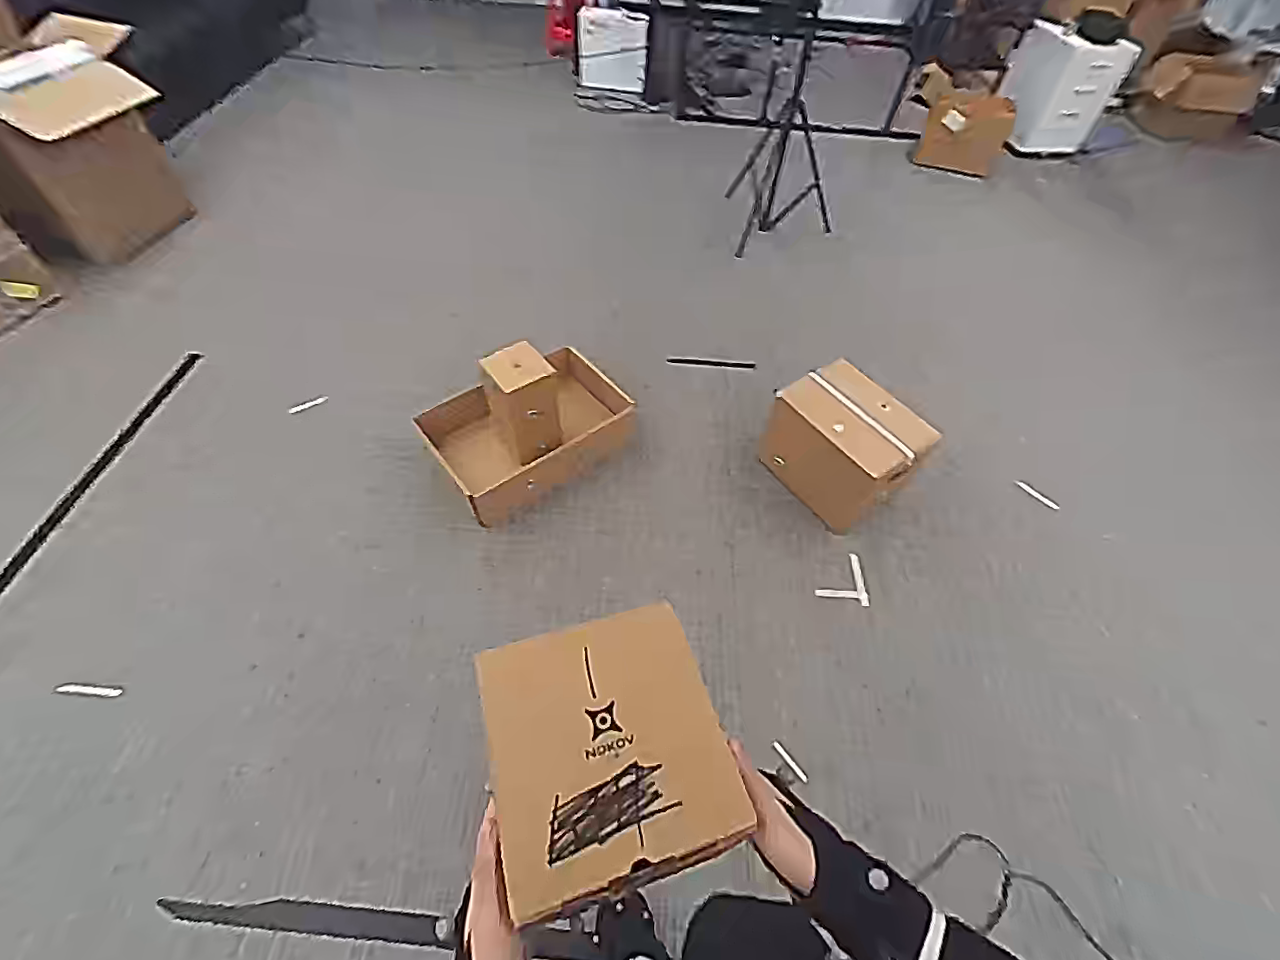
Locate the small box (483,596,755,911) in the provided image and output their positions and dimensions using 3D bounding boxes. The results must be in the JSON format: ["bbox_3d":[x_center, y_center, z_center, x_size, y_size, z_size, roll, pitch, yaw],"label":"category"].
[{"bbox_3d":[-0.026,0.229,0.454,0.168,0.176,0.179,-12,51,-13],"label":"small box"}]

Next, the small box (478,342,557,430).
[{"bbox_3d":[-0.372,-0.286,1.662,0.168,0.176,0.179,-31,61,-23],"label":"small box"}]

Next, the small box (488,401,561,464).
[{"bbox_3d":[-0.379,-0.187,1.791,0.168,0.176,0.179,-30,60,-22],"label":"small box"}]
